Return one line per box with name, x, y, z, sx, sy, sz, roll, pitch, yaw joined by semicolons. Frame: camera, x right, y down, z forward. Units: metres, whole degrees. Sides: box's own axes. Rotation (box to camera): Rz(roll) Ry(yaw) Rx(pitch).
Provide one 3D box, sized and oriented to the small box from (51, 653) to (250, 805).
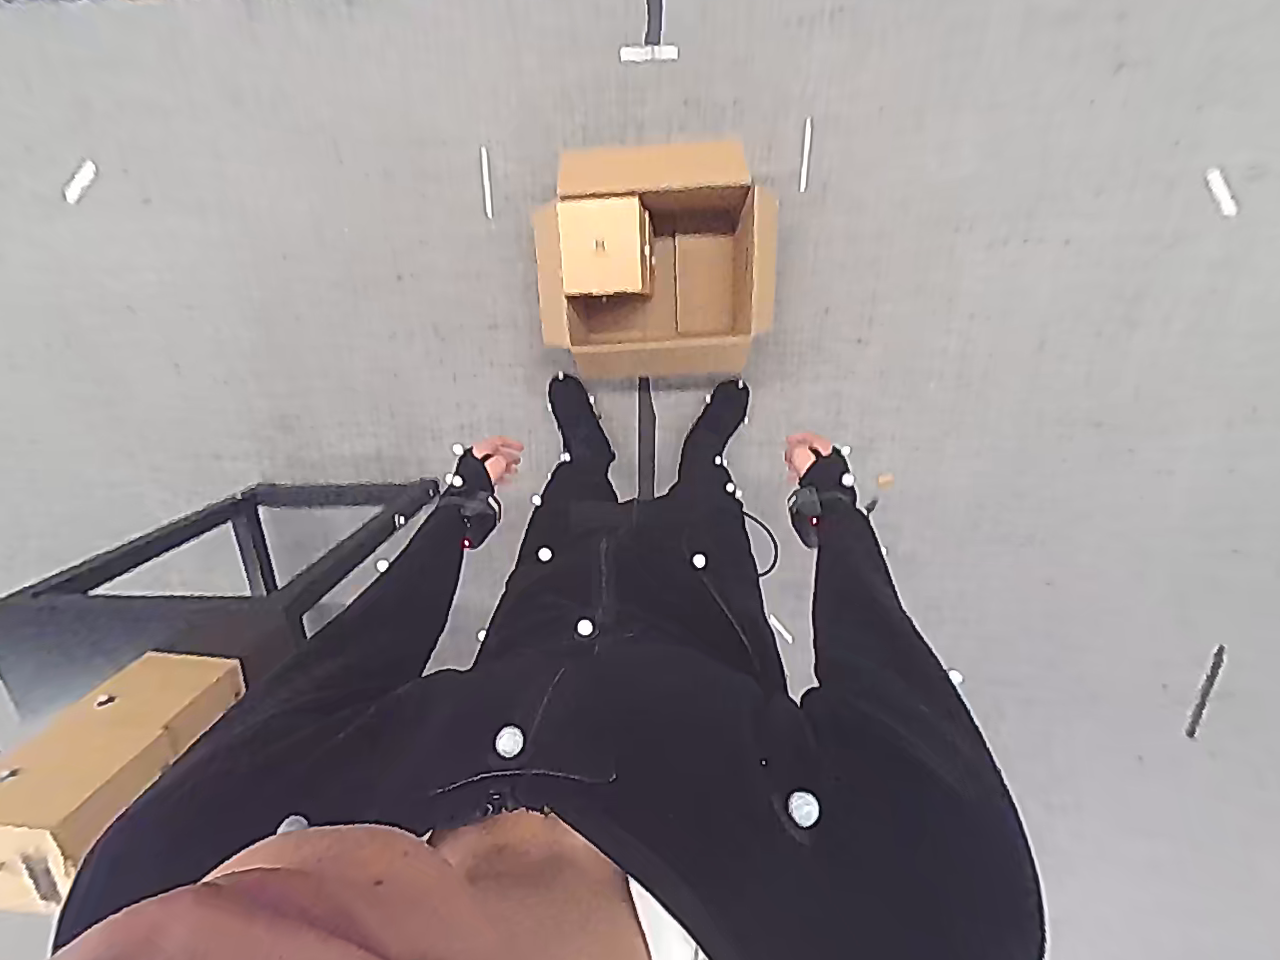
small box;-0.830;0.421;0.936;0.179;0.176;0.168;5;110;1
